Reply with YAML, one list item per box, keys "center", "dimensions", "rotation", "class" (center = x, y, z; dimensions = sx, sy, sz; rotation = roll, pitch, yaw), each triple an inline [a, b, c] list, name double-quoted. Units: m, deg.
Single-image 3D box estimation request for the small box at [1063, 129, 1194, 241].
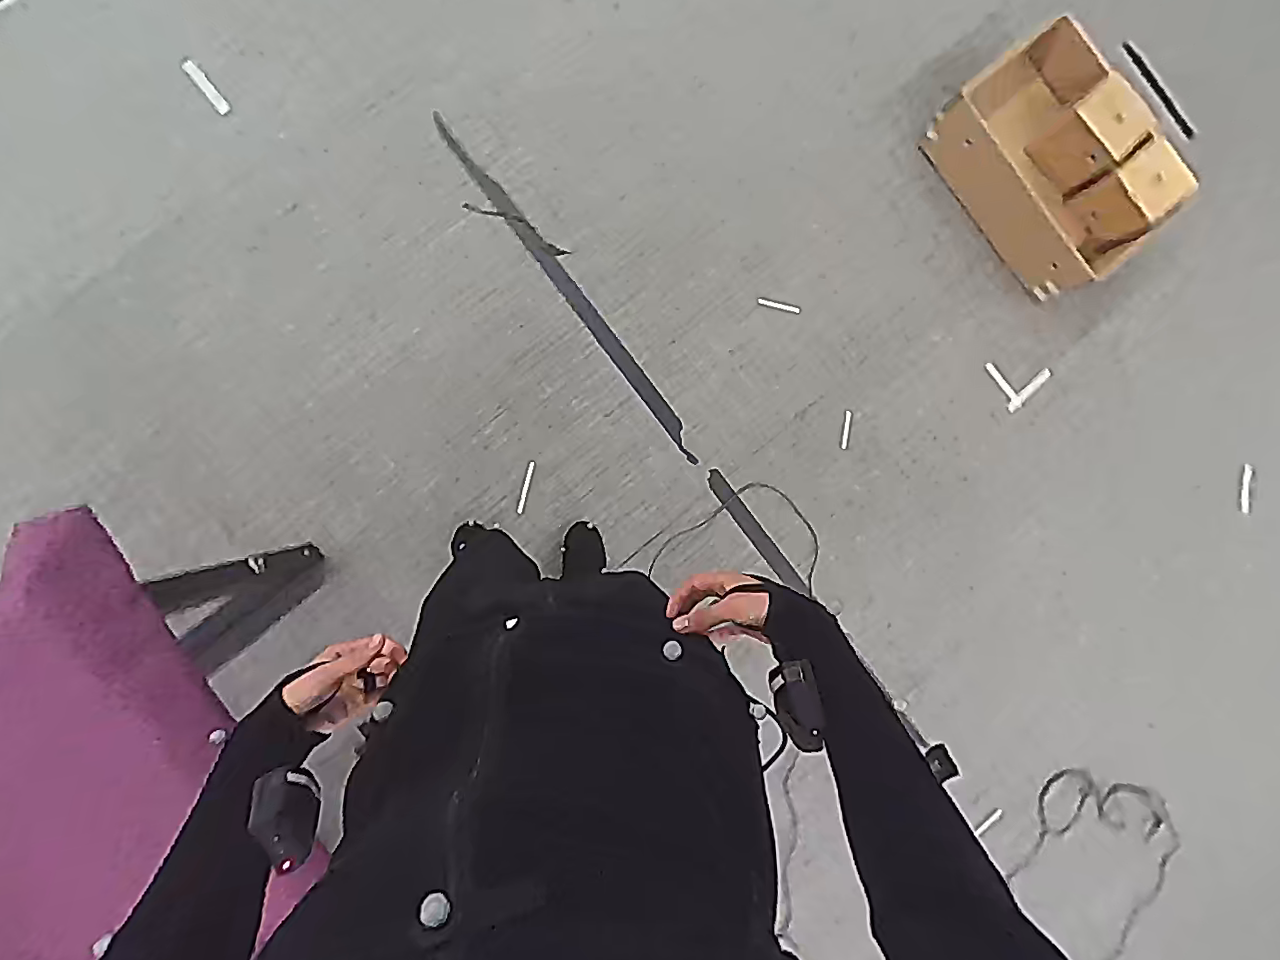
- center: [1.330, -0.802, 1.486]
  dimensions: [0.179, 0.176, 0.168]
  rotation: [-40, 93, -2]
  class: "small box"
